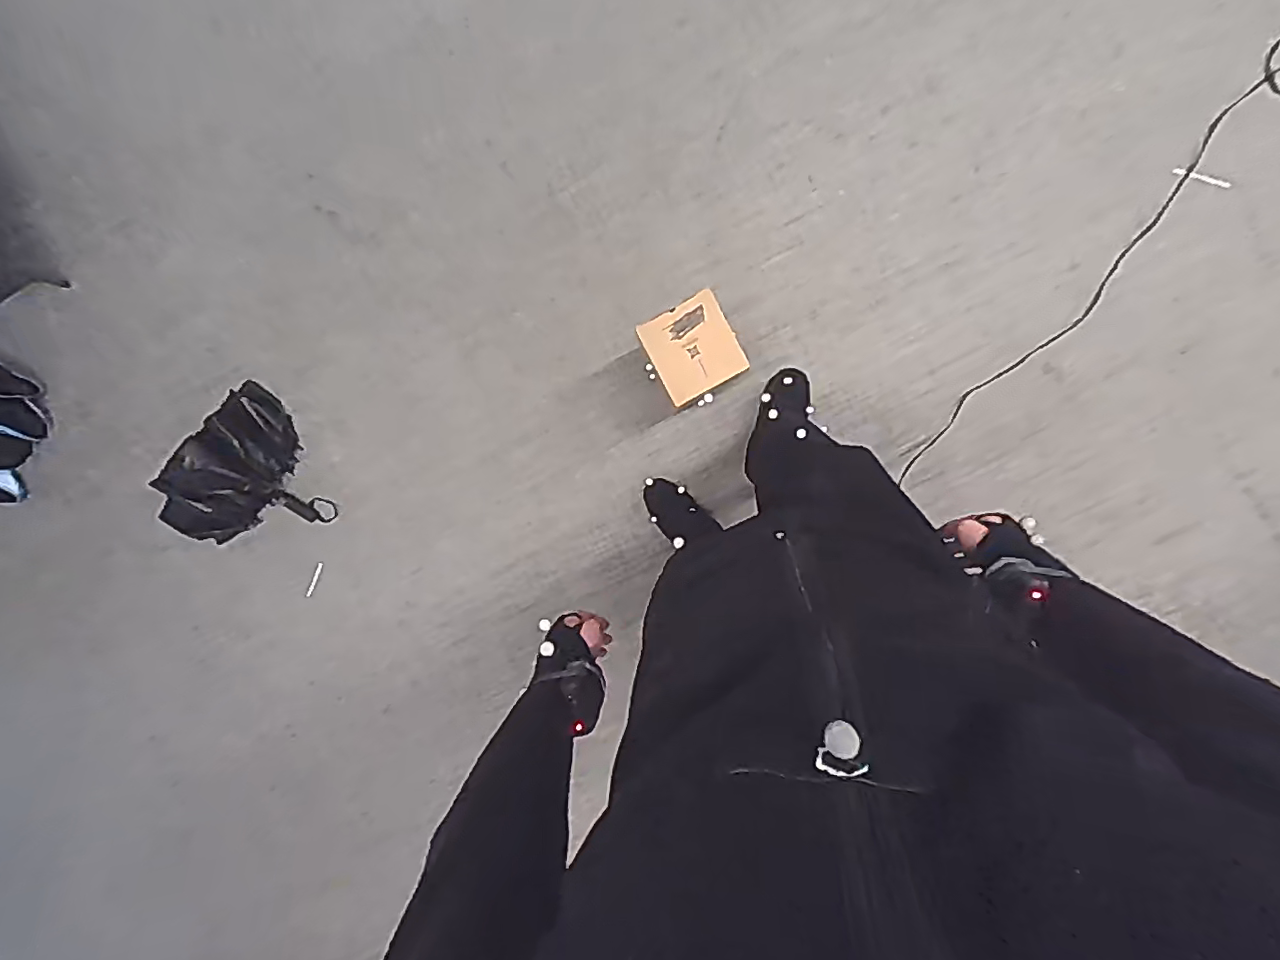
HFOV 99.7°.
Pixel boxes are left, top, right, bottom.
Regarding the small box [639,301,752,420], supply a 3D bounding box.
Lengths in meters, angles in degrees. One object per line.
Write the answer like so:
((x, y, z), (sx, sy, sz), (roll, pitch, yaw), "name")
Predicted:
((0.110, -0.239, 1.128), (0.168, 0.176, 0.179), (-28, 92, 5), "small box")
